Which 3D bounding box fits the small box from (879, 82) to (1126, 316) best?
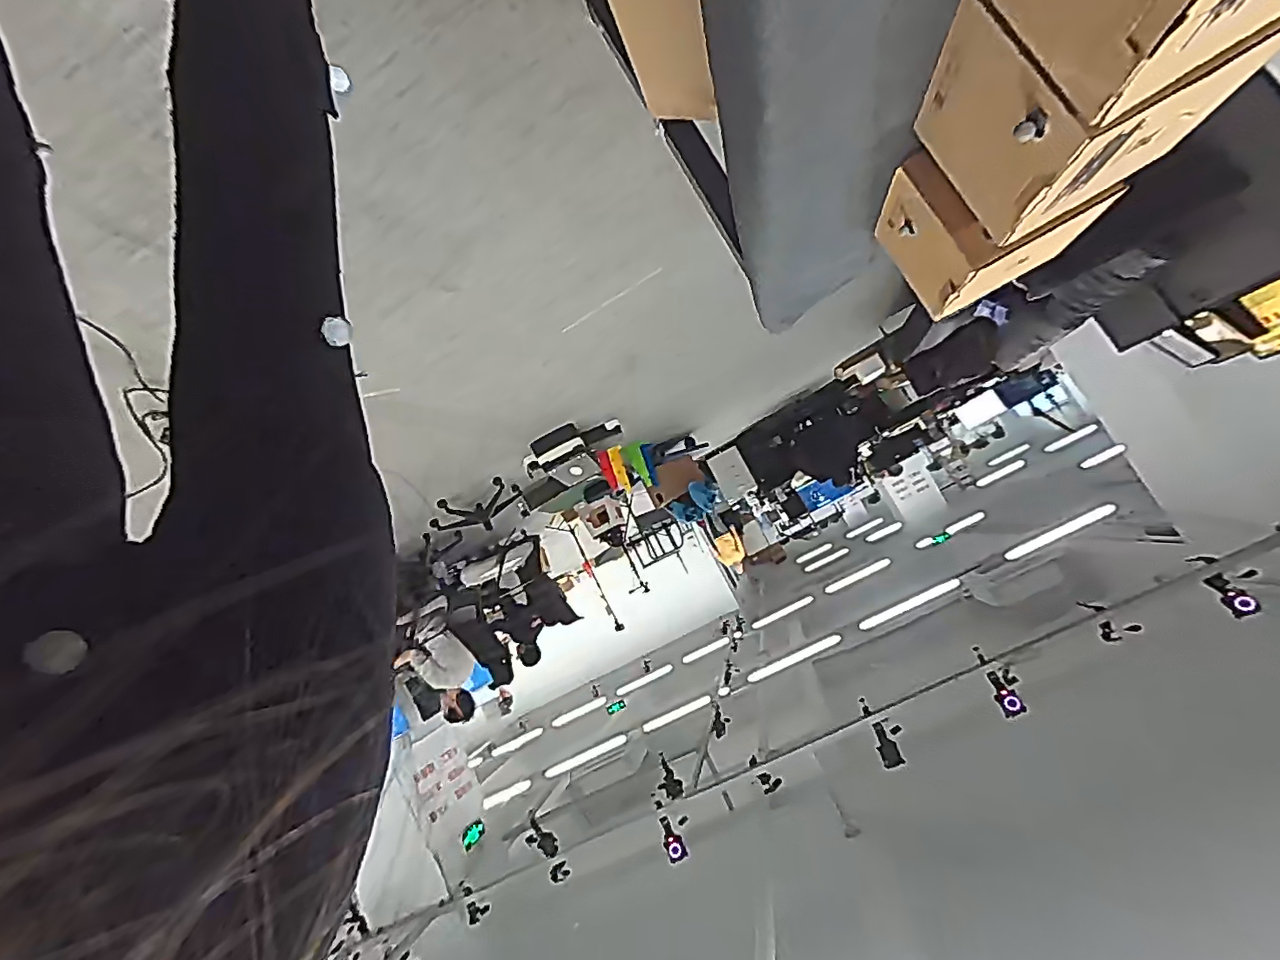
[{"bbox_3d":[0.443,-0.351,0.696,0.179,0.176,0.168,-28,171,11],"label":"small box"}]
